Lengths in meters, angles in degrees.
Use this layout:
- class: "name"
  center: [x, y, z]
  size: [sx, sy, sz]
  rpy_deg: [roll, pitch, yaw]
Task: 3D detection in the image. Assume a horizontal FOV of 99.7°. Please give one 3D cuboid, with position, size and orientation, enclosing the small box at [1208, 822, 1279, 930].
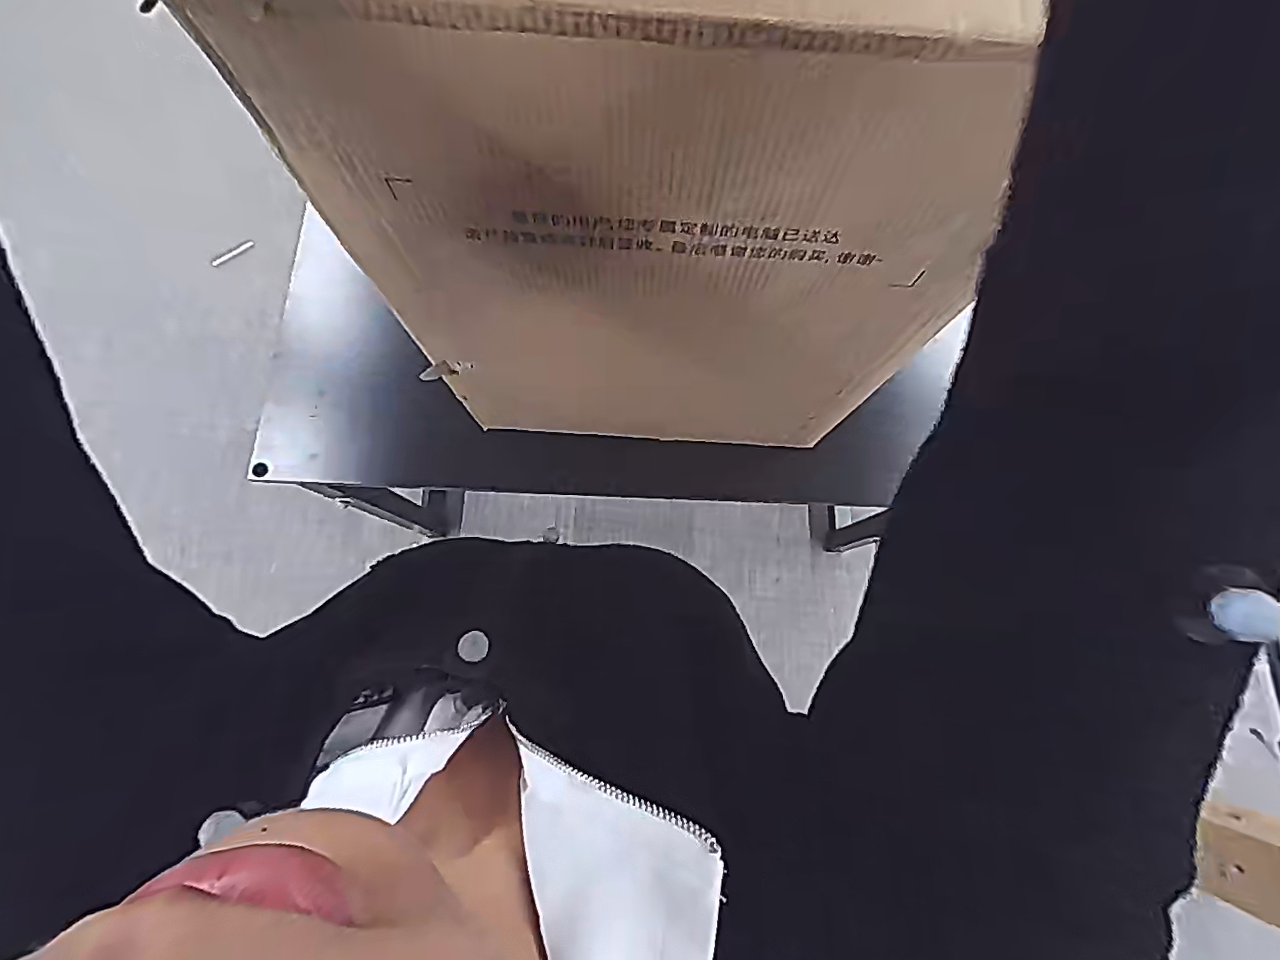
- class: "small box"
  center: [1.396, 0.855, 1.157]
  size: [0.179, 0.176, 0.168]
  rpy_deg: [3, 76, -1]

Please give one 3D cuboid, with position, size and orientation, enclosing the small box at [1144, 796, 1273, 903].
- class: "small box"
  center: [1.391, 0.889, 1.318]
  size: [0.168, 0.176, 0.179]
  rpy_deg: [0, 77, -2]
